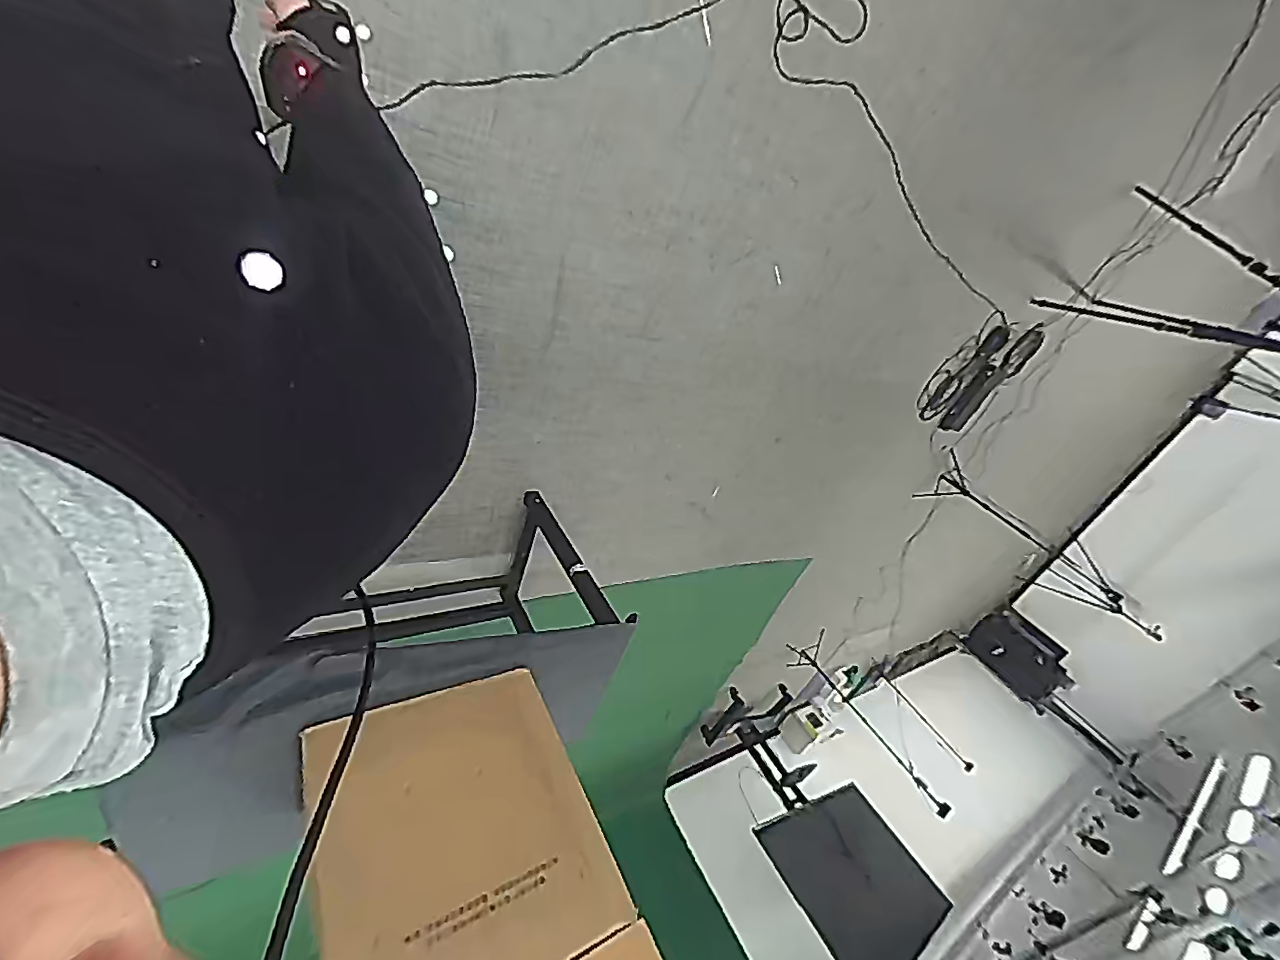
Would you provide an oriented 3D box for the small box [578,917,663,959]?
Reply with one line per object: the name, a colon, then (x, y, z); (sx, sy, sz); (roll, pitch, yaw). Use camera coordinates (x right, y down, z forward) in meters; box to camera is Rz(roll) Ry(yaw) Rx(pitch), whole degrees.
small box: (-0.045, 1.007, 1.050); (0.179, 0.176, 0.168); (-2, 126, -40)
